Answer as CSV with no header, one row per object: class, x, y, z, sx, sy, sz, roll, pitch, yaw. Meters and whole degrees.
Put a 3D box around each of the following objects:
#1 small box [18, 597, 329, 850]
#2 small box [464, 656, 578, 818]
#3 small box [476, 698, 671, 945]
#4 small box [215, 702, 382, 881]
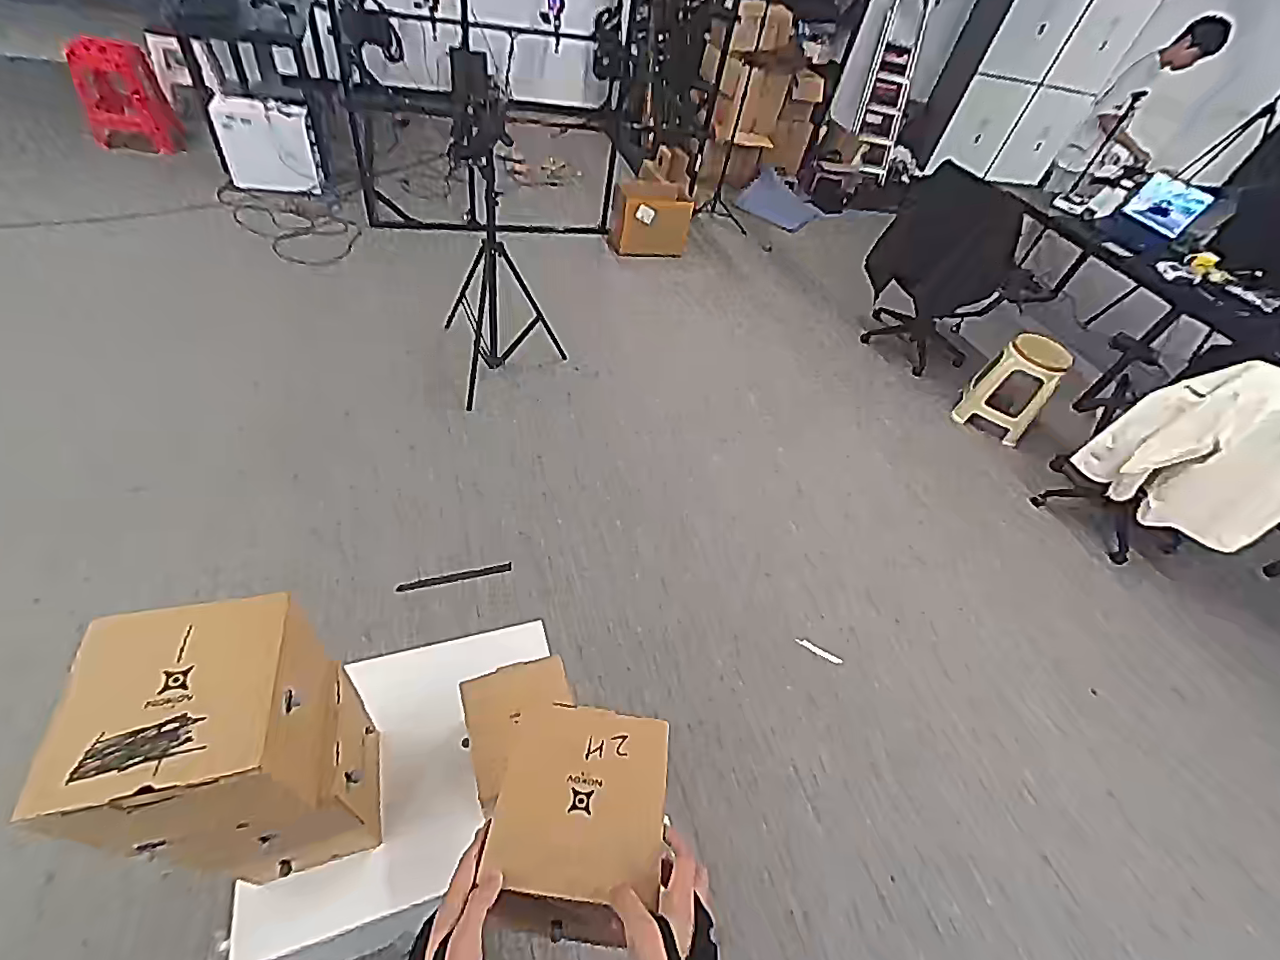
small box,-0.426,0.244,0.539,0.168,0.176,0.179,-5,49,-17
small box,-0.187,0.421,0.883,0.168,0.176,0.179,-11,52,-20
small box,-0.065,0.372,0.588,0.168,0.176,0.179,10,39,-1
small box,-0.478,0.455,0.787,0.168,0.176,0.179,-7,51,-20
